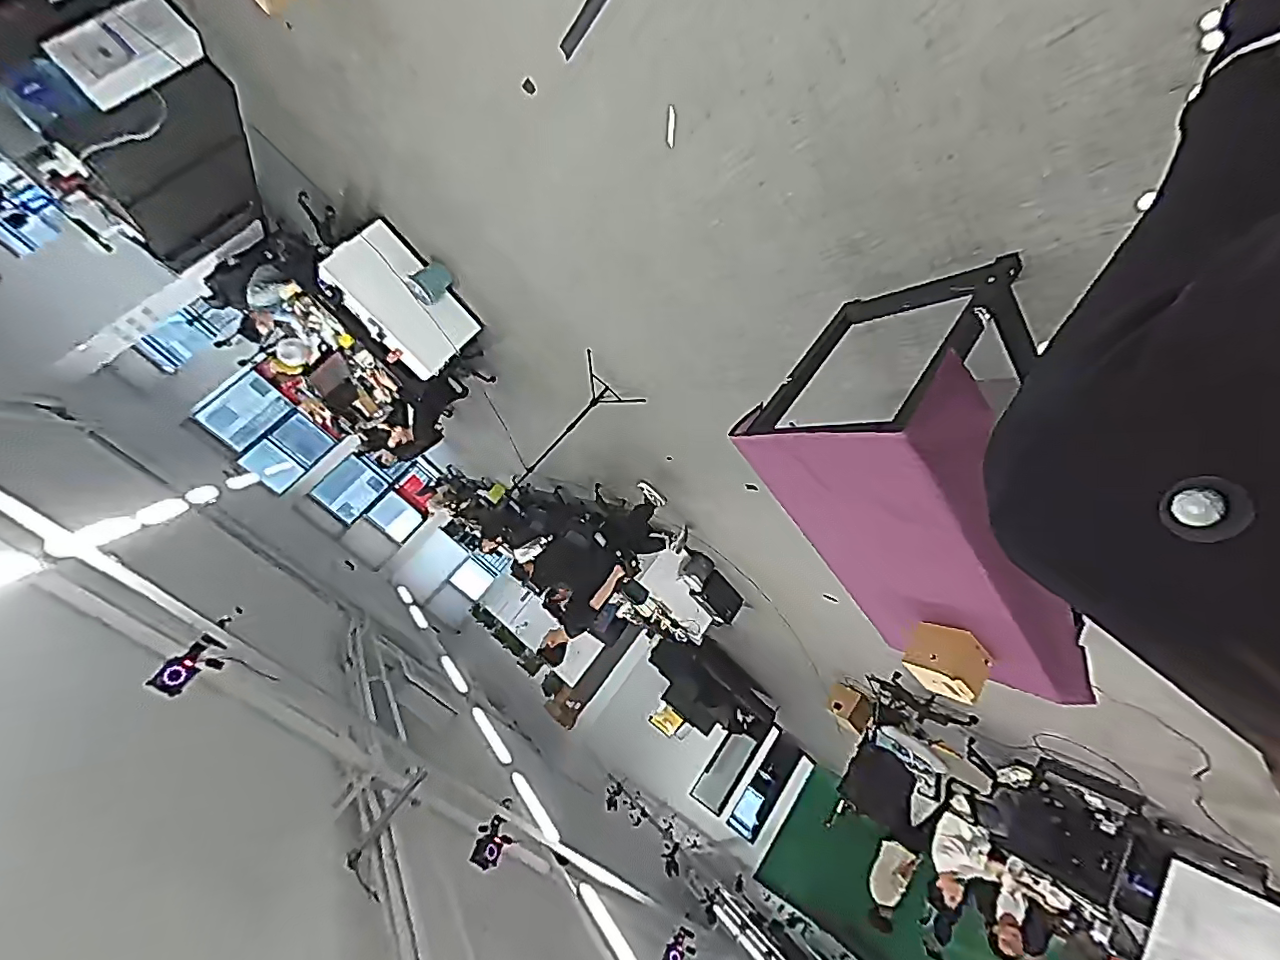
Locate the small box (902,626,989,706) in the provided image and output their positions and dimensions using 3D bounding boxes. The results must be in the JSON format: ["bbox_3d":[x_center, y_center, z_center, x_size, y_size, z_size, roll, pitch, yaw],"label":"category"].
[{"bbox_3d":[1.017,0.607,1.789,0.168,0.176,0.179,46,161,-15],"label":"small box"}]
